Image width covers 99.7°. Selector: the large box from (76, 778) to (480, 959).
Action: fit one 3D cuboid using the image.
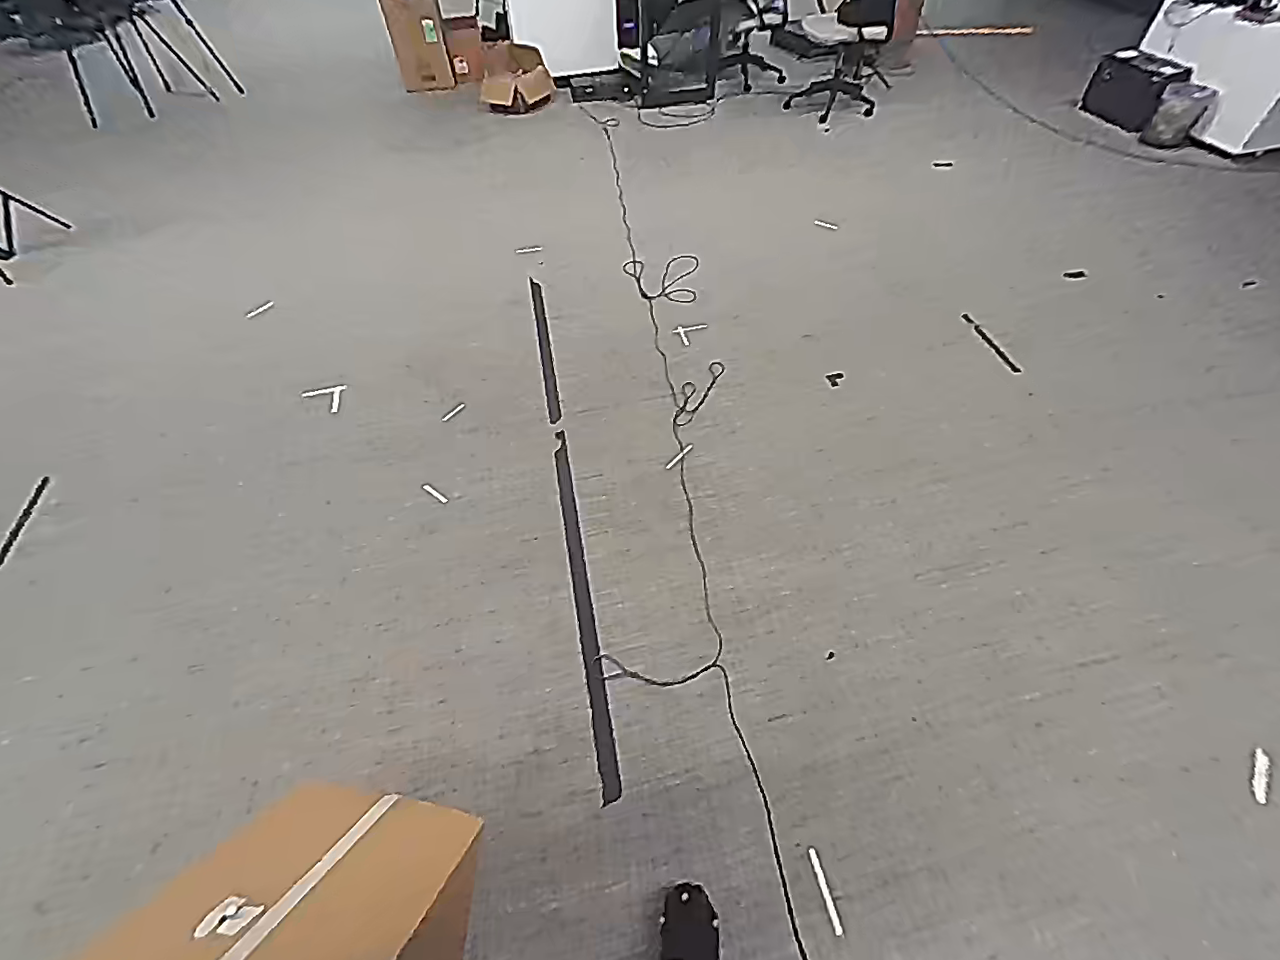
[{"bbox_3d":[-0.452,0.675,0.700,0.320,0.408,0.320,9,91,8],"label":"large box"}]
